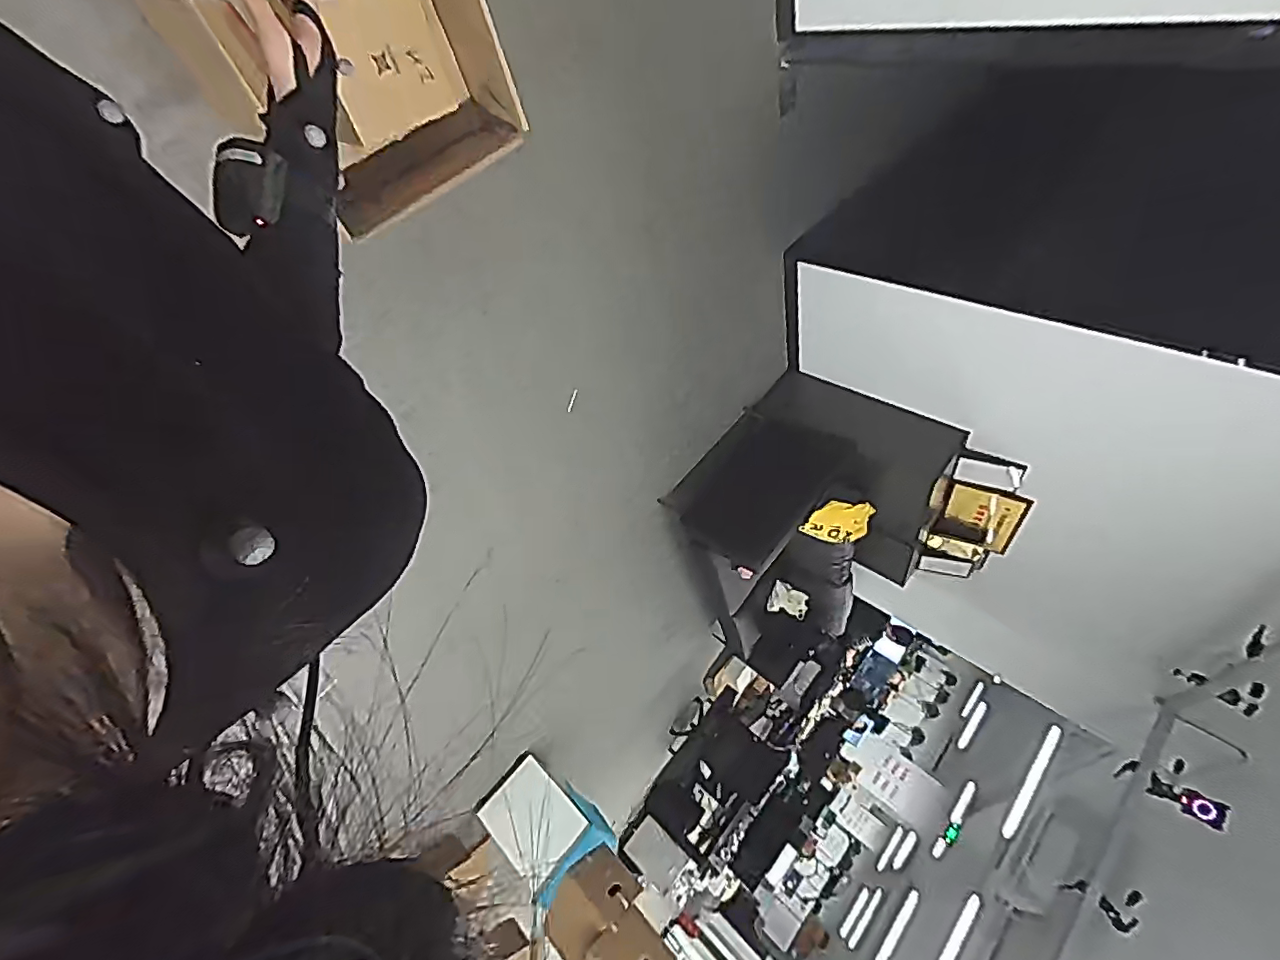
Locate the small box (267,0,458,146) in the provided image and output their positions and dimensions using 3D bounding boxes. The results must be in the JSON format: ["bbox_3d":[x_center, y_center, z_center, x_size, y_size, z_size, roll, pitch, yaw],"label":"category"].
[{"bbox_3d":[-0.414,-0.621,0.804,0.179,0.176,0.168,-42,143,-24],"label":"small box"}]
